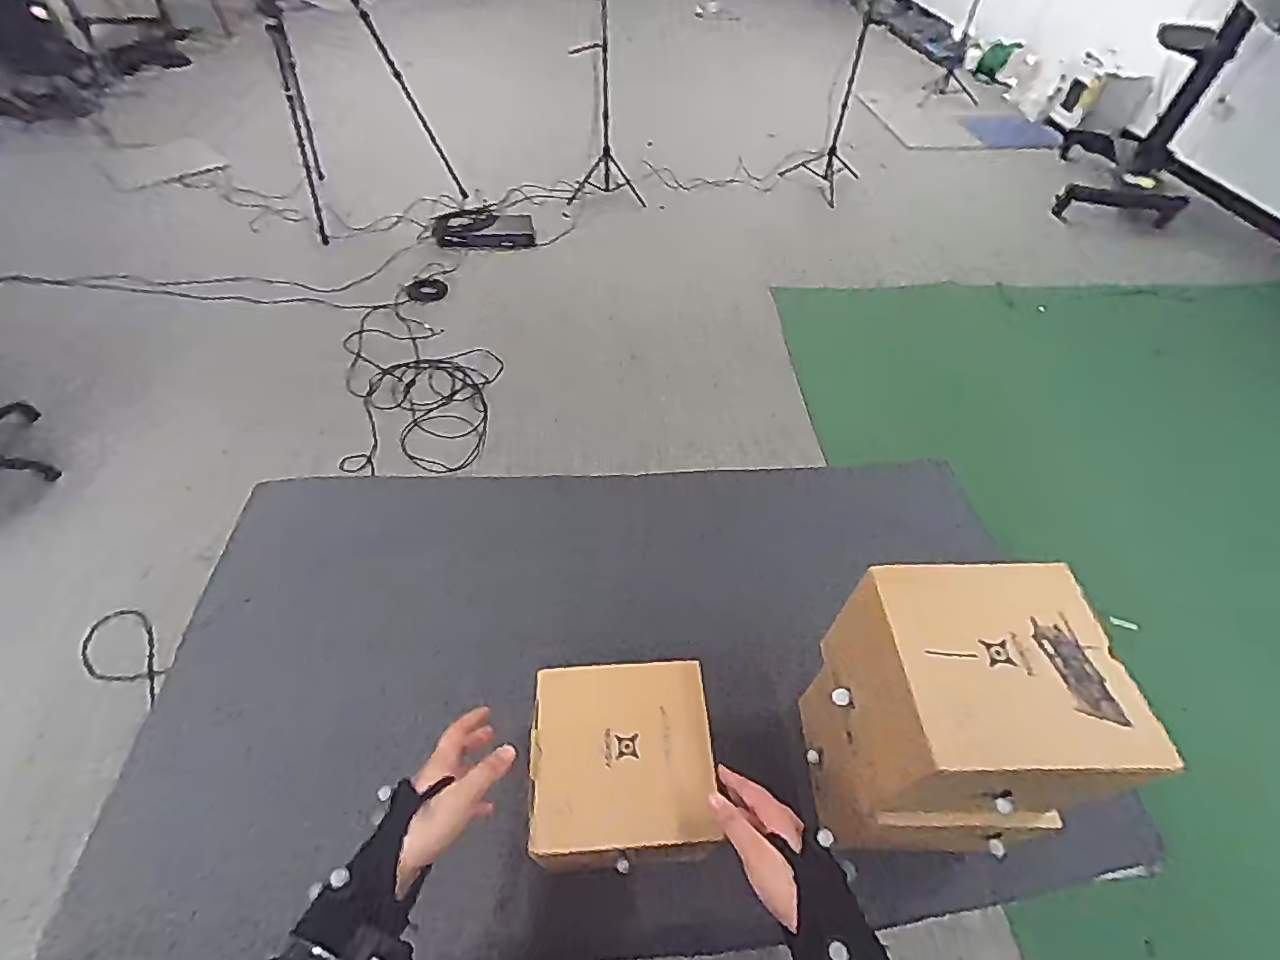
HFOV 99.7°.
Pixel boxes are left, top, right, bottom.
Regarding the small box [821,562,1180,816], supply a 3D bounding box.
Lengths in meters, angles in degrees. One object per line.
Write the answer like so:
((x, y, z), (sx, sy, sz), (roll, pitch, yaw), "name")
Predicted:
((0.282, 0.187, 0.478), (0.179, 0.176, 0.168), (0, 50, -1), "small box")

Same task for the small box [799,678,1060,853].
((0.293, 0.301, 0.596), (0.179, 0.176, 0.168), (1, 49, 0), "small box")

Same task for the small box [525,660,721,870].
((-0.022, 0.310, 0.584), (0.179, 0.176, 0.168), (-2, 51, -5), "small box")
